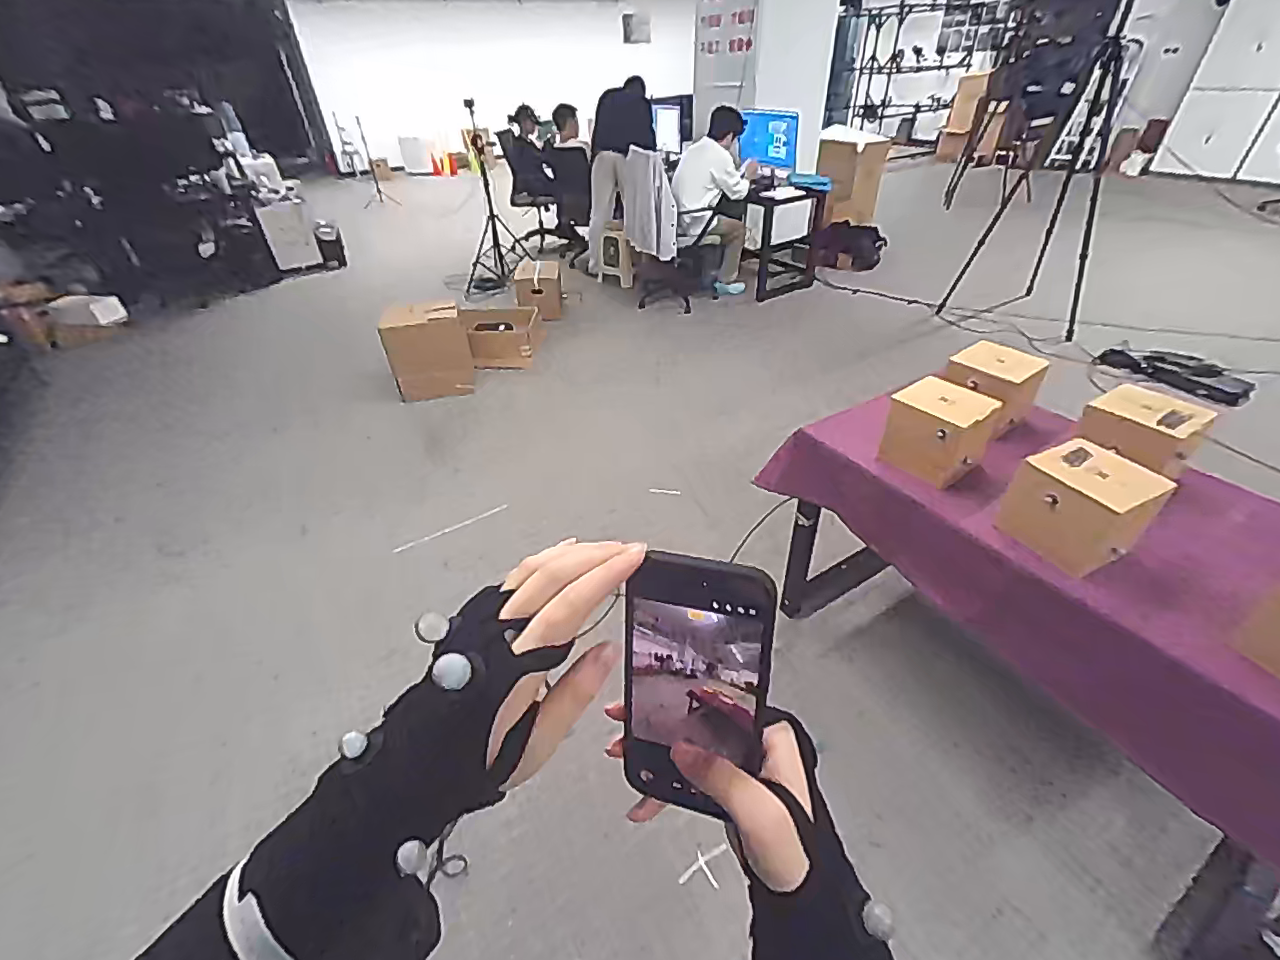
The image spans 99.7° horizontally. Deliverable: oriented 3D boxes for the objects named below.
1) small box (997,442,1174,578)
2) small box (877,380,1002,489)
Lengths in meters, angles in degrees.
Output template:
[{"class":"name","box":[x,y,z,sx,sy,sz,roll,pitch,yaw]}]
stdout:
[{"class":"small box","box":[0.835,0.055,1.035,0.168,0.176,0.179,-18,41,-19]},{"class":"small box","box":[0.684,-0.108,1.258,0.168,0.176,0.179,-26,44,-28]}]
